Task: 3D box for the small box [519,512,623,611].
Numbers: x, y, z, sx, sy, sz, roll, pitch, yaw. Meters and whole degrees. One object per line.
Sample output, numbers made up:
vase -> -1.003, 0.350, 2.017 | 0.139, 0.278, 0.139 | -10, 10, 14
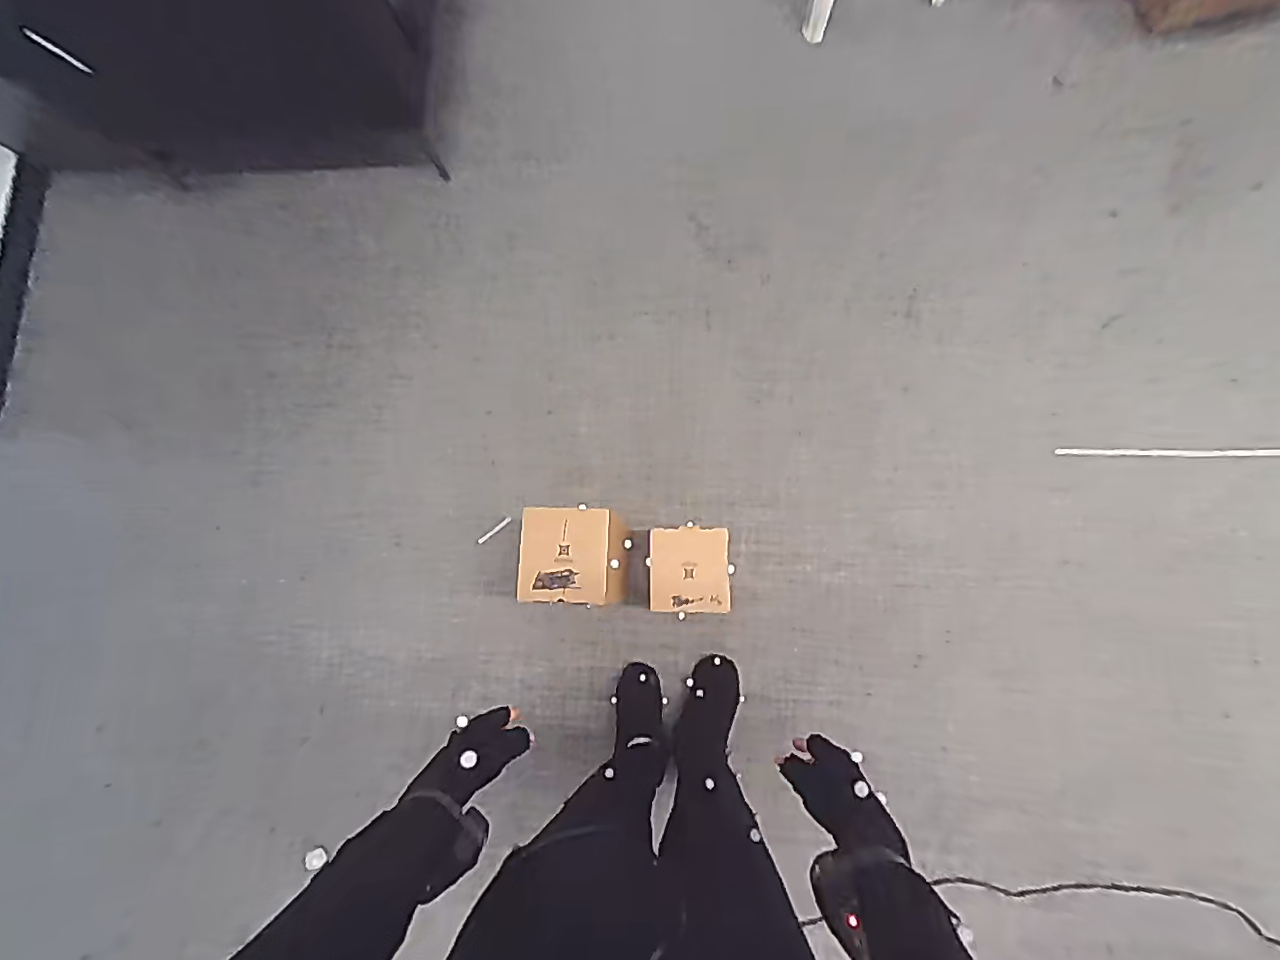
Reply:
small box -> -0.127, 0.159, 1.058 | 0.168, 0.176, 0.179 | 0, 80, 6
